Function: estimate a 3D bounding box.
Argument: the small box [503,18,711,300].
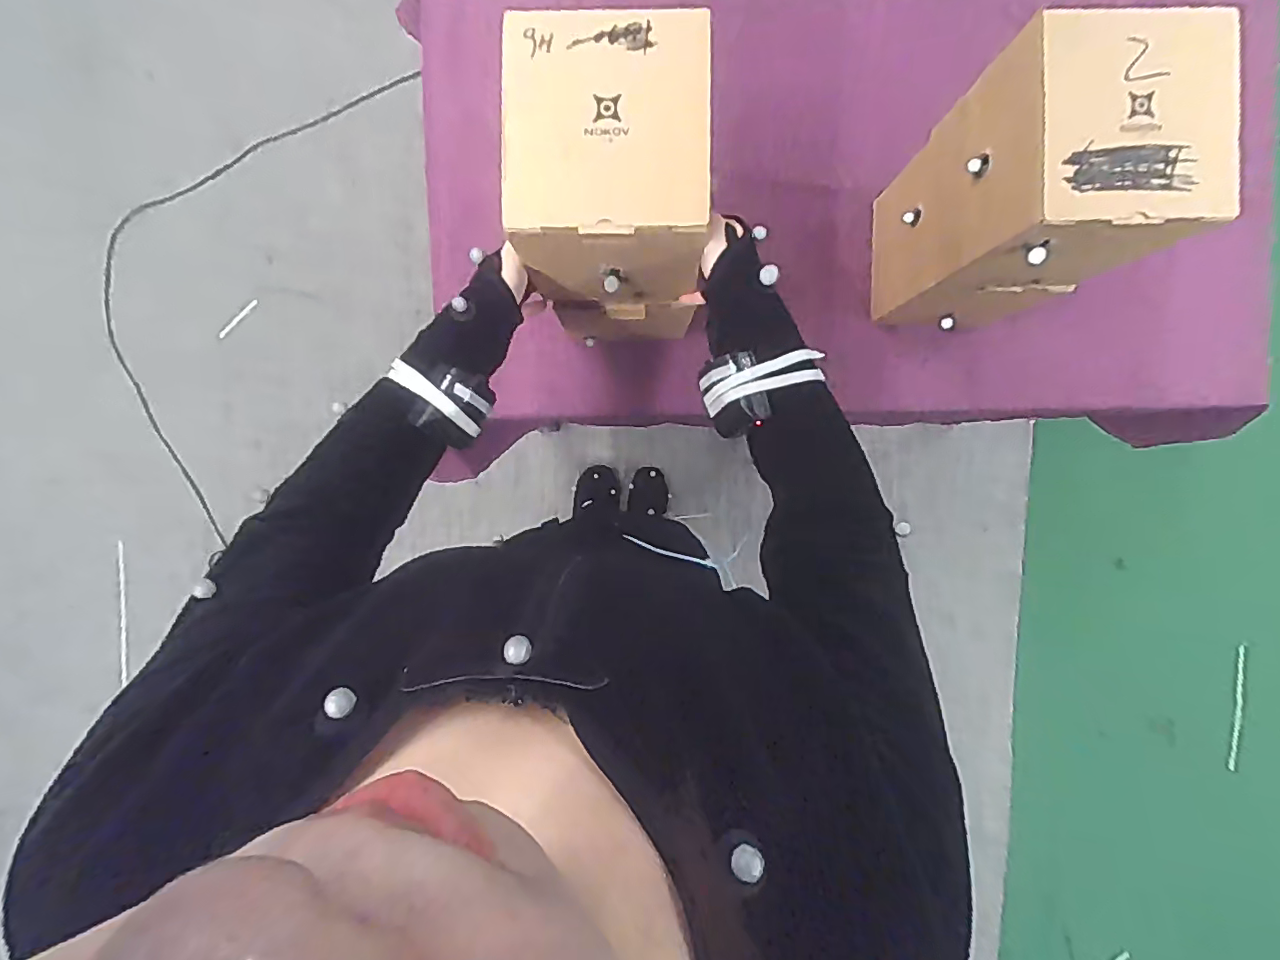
[{"bbox_3d":[-0.025,-0.278,0.508,0.168,0.176,0.179,0,91,1],"label":"small box"}]

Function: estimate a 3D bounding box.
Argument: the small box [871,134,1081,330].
[{"bbox_3d":[0.412,-0.302,0.690,0.168,0.176,0.179,1,92,0],"label":"small box"}]

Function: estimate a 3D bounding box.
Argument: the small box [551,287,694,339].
[{"bbox_3d":[-0.021,-0.281,0.685,0.168,0.176,0.179,-2,91,-1],"label":"small box"}]
